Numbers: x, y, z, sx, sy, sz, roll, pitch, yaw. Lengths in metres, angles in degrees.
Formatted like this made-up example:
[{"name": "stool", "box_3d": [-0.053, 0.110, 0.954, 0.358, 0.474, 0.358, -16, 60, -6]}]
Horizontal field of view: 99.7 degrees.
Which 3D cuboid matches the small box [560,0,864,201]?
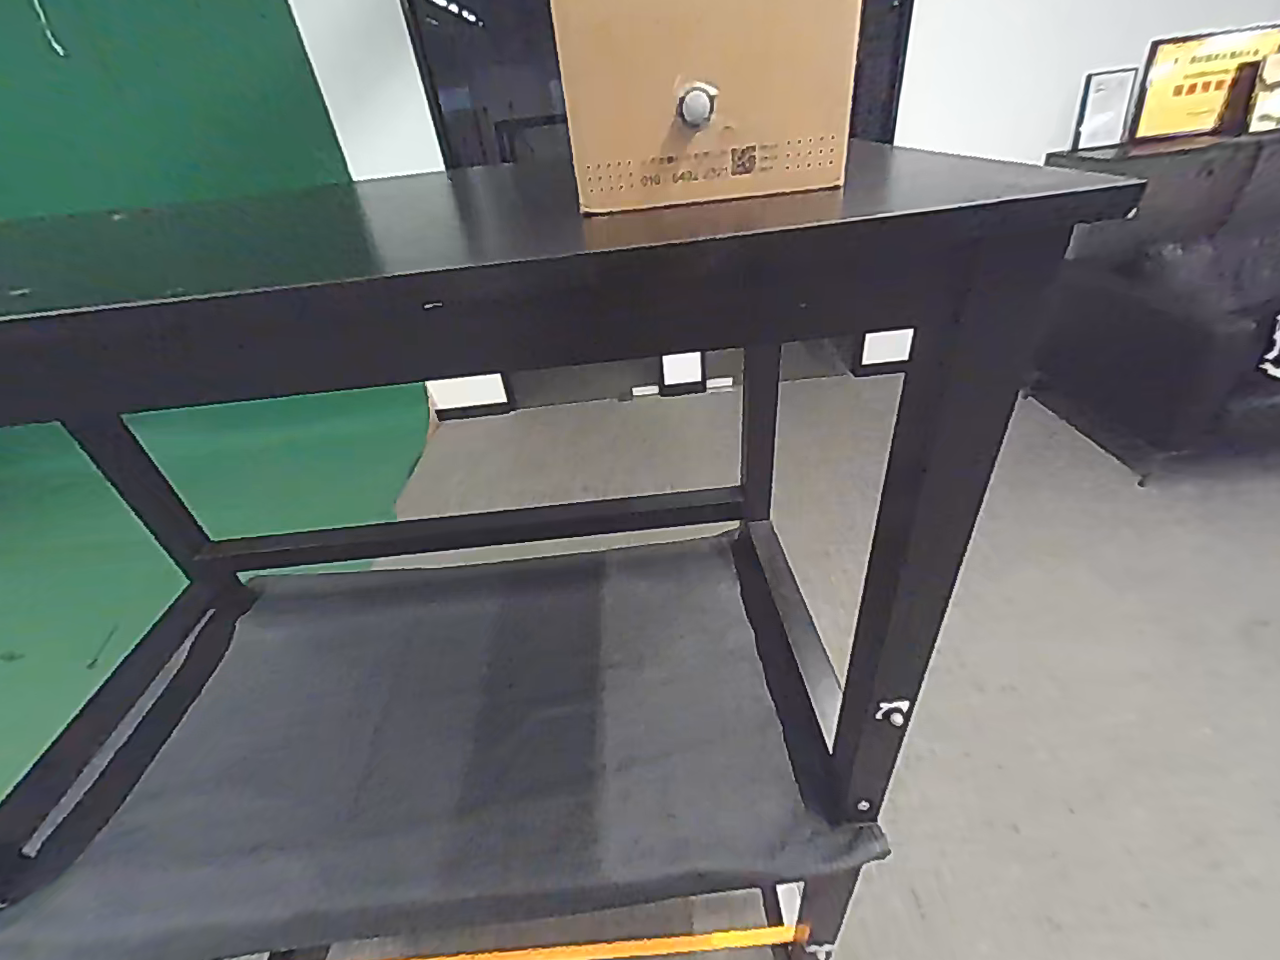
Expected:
[{"name": "small box", "box_3d": [0.042, -0.293, 0.359, 0.168, 0.176, 0.179, -3, 36, 6]}]
